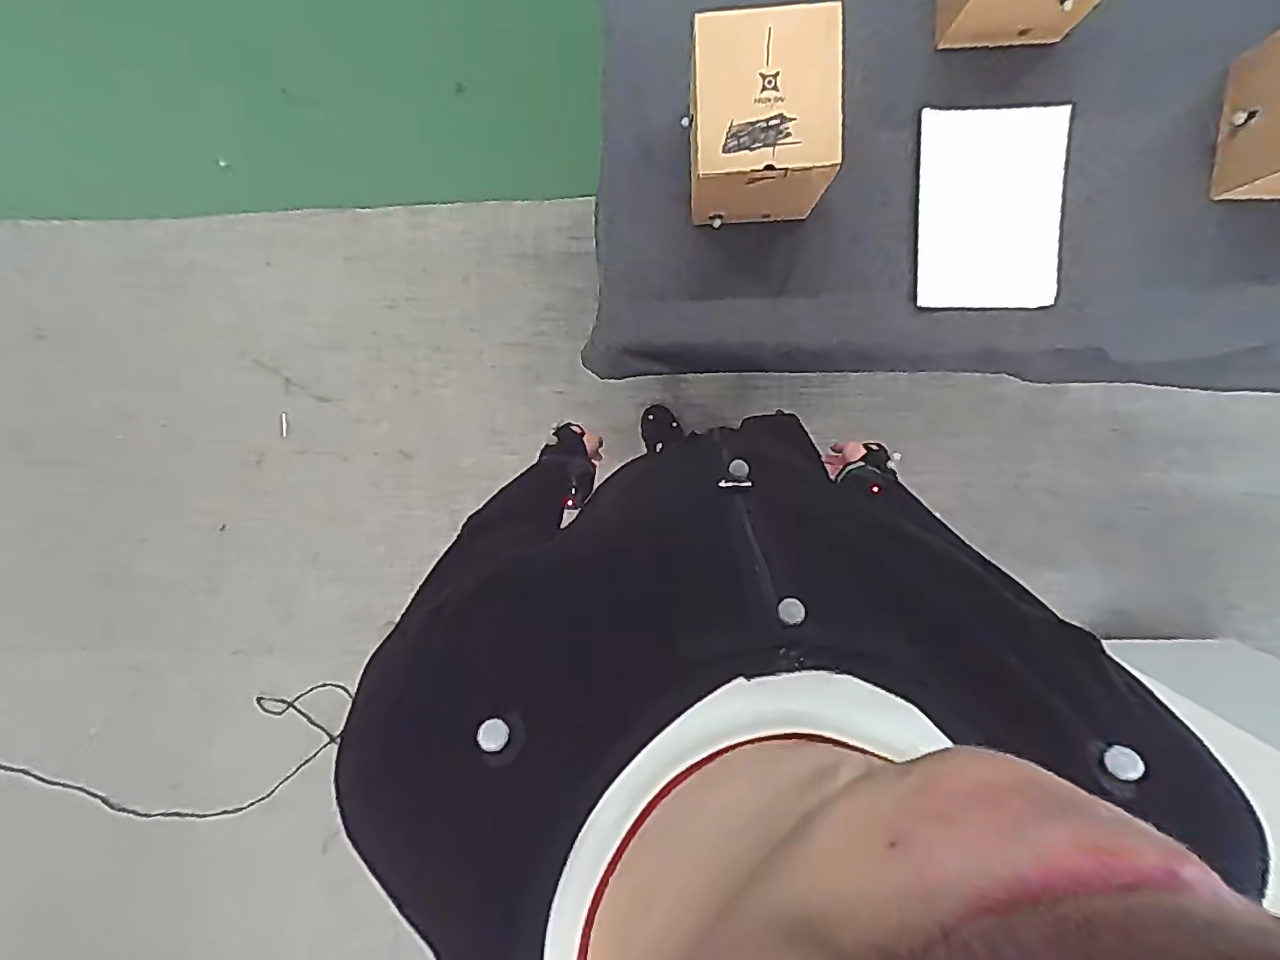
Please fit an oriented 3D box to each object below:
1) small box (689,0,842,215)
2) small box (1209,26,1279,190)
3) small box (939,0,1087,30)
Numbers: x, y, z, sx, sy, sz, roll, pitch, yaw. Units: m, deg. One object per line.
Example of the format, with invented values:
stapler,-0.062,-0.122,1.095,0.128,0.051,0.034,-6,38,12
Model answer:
small box,0.149,-0.456,0.694,0.168,0.176,0.179,-2,98,3
small box,0.855,-0.465,0.650,0.168,0.176,0.179,0,99,3
small box,0.474,-0.668,0.630,0.168,0.176,0.179,-1,97,3
